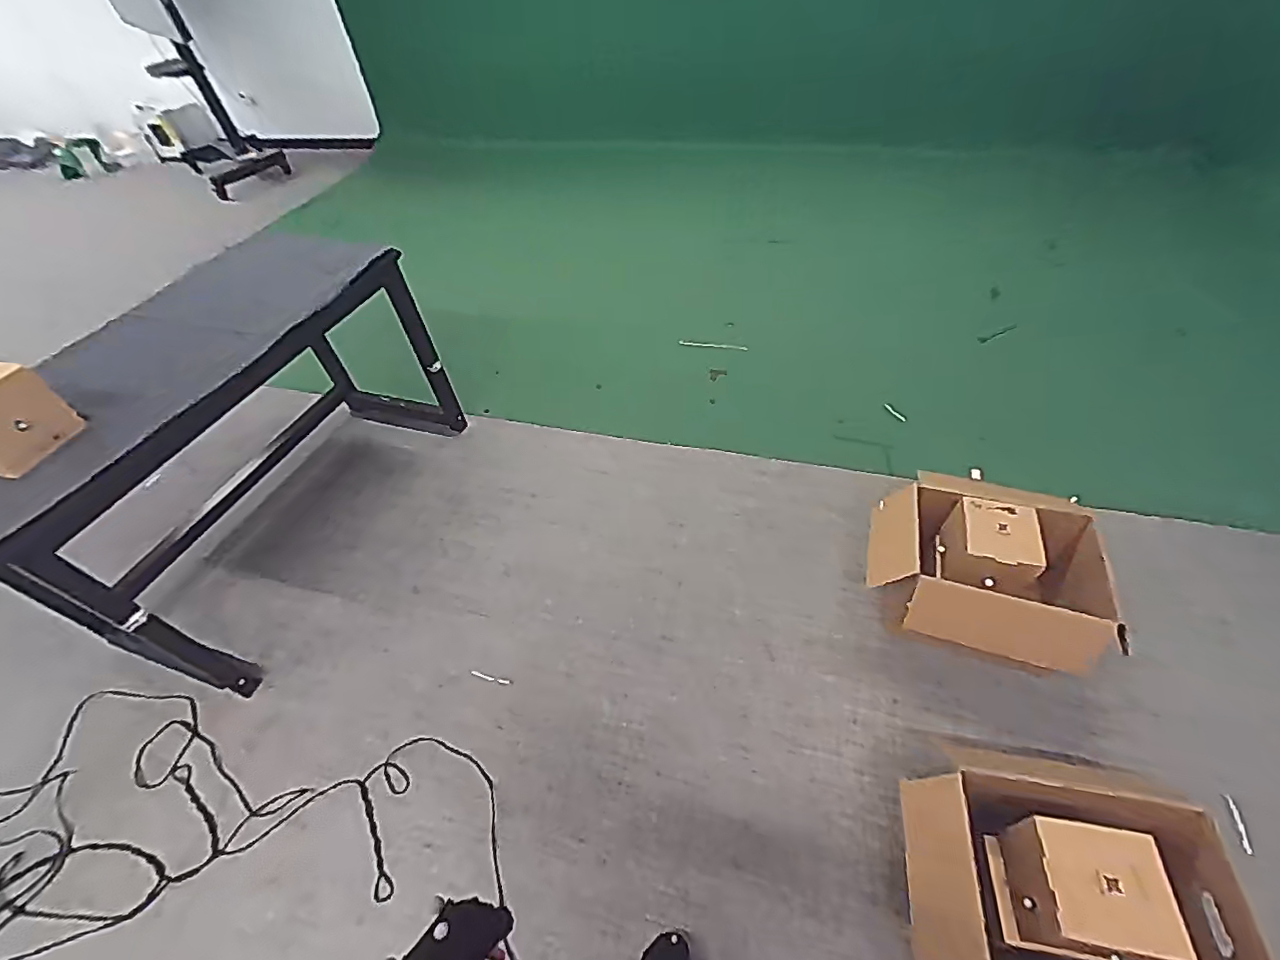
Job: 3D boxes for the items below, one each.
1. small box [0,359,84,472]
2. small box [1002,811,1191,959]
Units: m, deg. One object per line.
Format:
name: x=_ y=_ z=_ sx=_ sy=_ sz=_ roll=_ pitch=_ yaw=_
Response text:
small box: x=-1.333 y=-0.134 z=1.111 sx=0.179 sy=0.176 sz=0.168 roll=7 pitch=48 yaw=13
small box: x=0.743 y=0.684 z=0.913 sx=0.179 sy=0.176 sz=0.168 roll=4 pitch=50 yaw=11
